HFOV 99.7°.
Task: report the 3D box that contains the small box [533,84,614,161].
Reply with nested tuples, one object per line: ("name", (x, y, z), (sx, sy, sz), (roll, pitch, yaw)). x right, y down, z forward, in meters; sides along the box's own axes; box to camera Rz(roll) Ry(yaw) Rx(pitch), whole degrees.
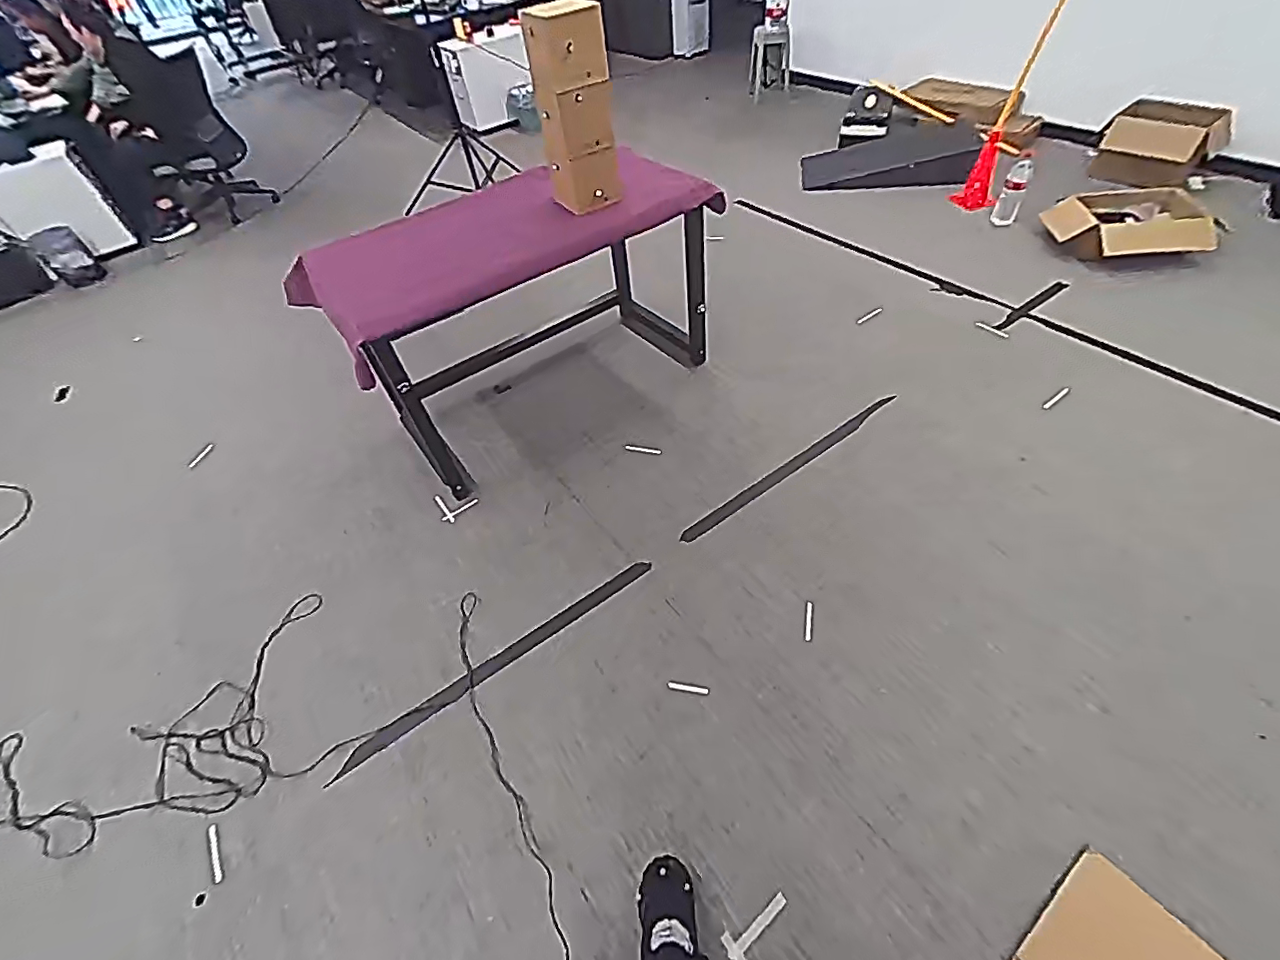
("small box", (-0.196, -1.077, 1.615), (0.168, 0.176, 0.179), (-28, 51, -15))

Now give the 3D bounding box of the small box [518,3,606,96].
("small box", (-0.209, -1.179, 1.488), (0.168, 0.176, 0.179), (-29, 51, -15))

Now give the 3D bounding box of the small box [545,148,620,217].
("small box", (-0.182, -0.974, 1.742), (0.168, 0.176, 0.179), (-30, 53, -17))
